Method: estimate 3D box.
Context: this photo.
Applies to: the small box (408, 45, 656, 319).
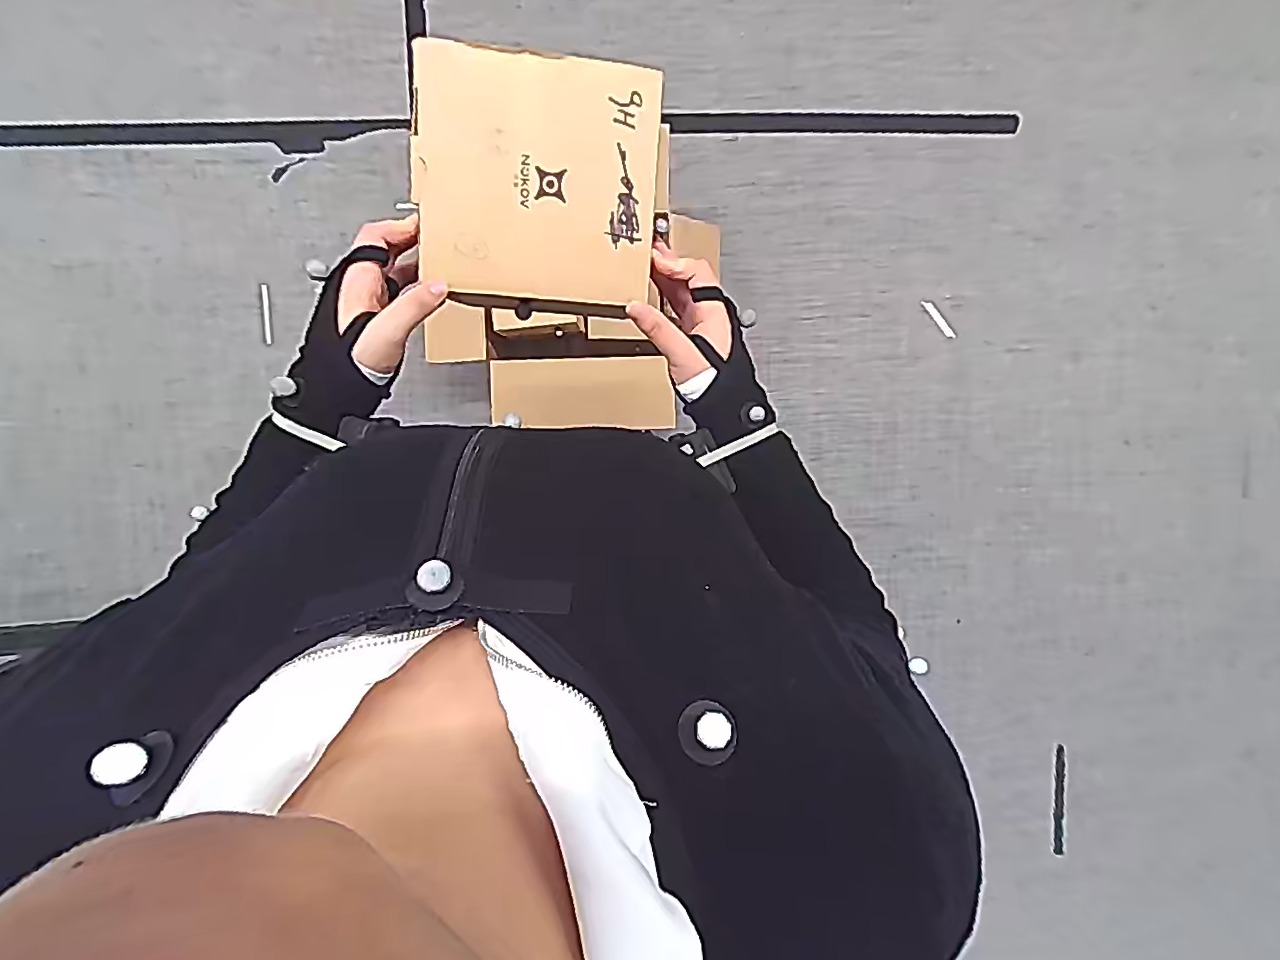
[{"bbox_3d":[-0.087,-0.235,0.476,0.179,0.176,0.168,3,103,-6],"label":"small box"}]
